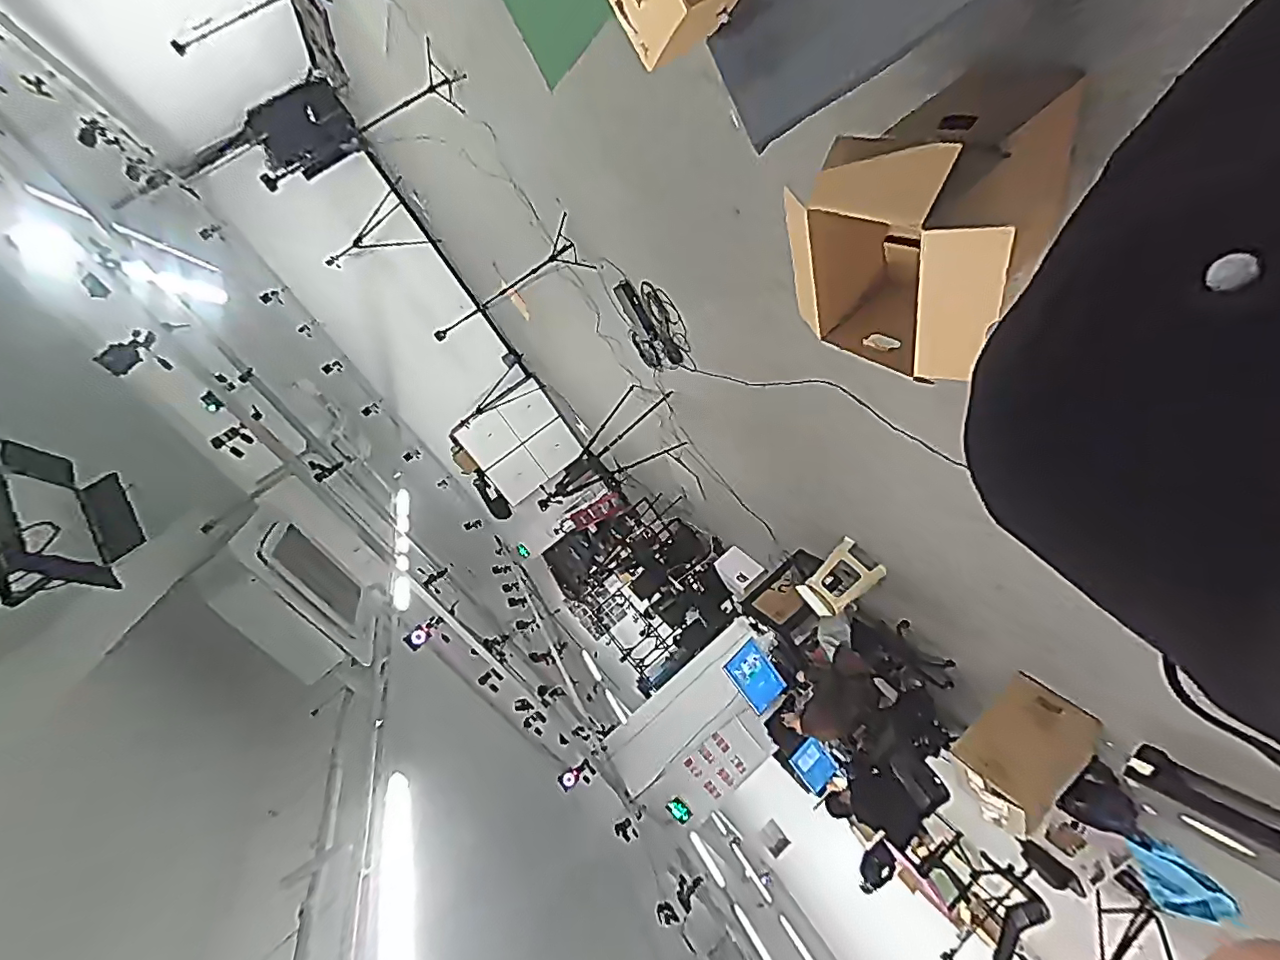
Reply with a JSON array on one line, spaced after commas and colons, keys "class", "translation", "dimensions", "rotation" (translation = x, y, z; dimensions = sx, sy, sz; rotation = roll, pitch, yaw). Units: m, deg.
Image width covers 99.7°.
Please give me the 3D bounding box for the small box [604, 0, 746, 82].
[{"class": "small box", "translation": [0.065, -0.834, 0.907], "dimensions": [0.168, 0.176, 0.179], "rotation": [55, 167, -18]}]
